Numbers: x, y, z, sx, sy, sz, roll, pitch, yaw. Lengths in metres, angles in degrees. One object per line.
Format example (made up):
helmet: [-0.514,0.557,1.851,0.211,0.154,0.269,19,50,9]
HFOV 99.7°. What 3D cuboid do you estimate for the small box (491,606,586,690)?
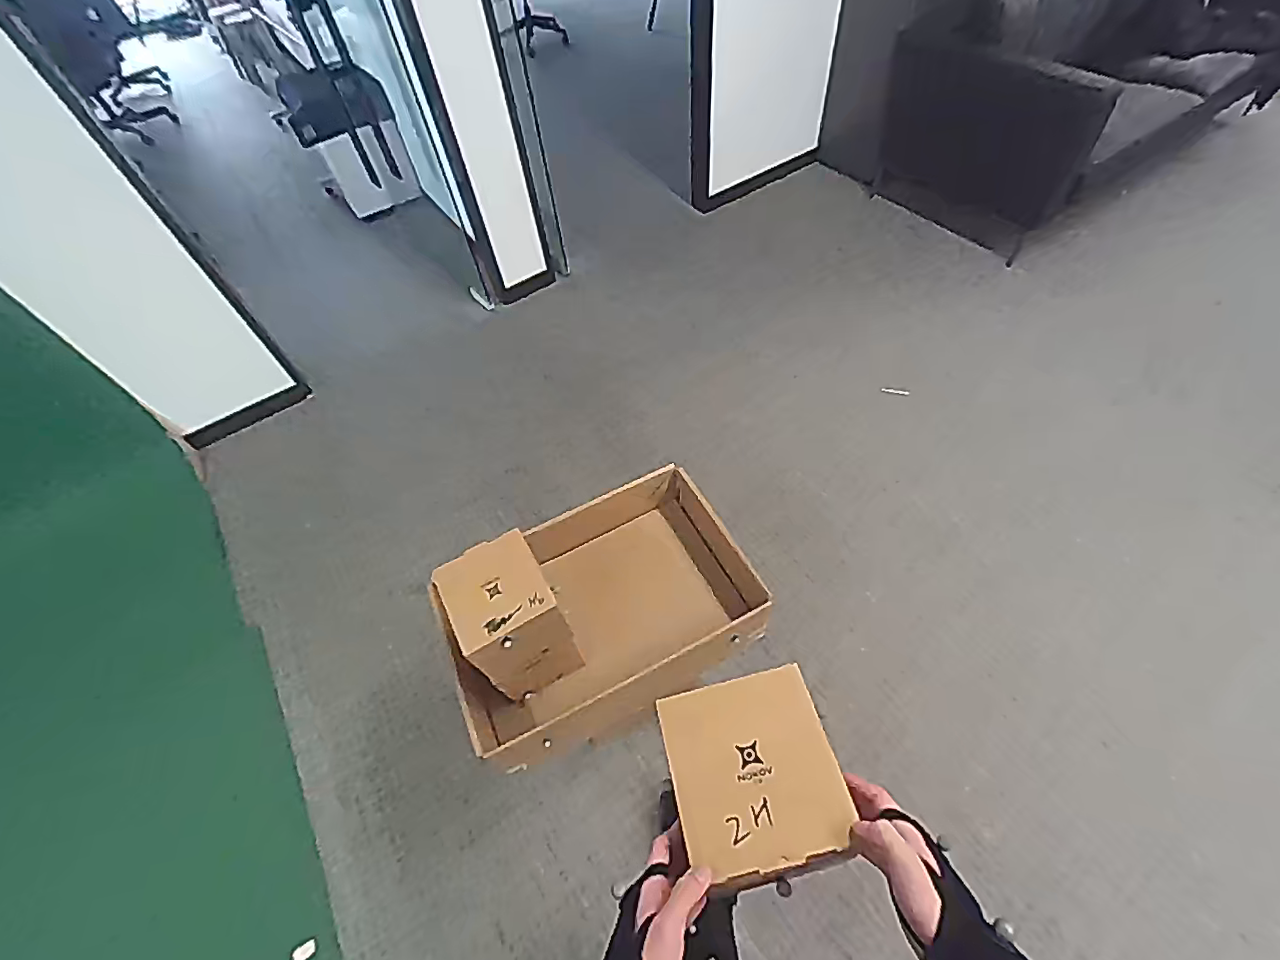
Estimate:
small box: [-0.226,0.315,1.123,0.168,0.176,0.179,-26,56,-11]

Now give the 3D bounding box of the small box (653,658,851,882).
small box: [0.122,0.336,0.621,0.168,0.176,0.179,-16,49,3]

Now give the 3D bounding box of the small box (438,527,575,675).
small box: [-0.237,0.224,0.986,0.168,0.176,0.179,-29,57,-11]
